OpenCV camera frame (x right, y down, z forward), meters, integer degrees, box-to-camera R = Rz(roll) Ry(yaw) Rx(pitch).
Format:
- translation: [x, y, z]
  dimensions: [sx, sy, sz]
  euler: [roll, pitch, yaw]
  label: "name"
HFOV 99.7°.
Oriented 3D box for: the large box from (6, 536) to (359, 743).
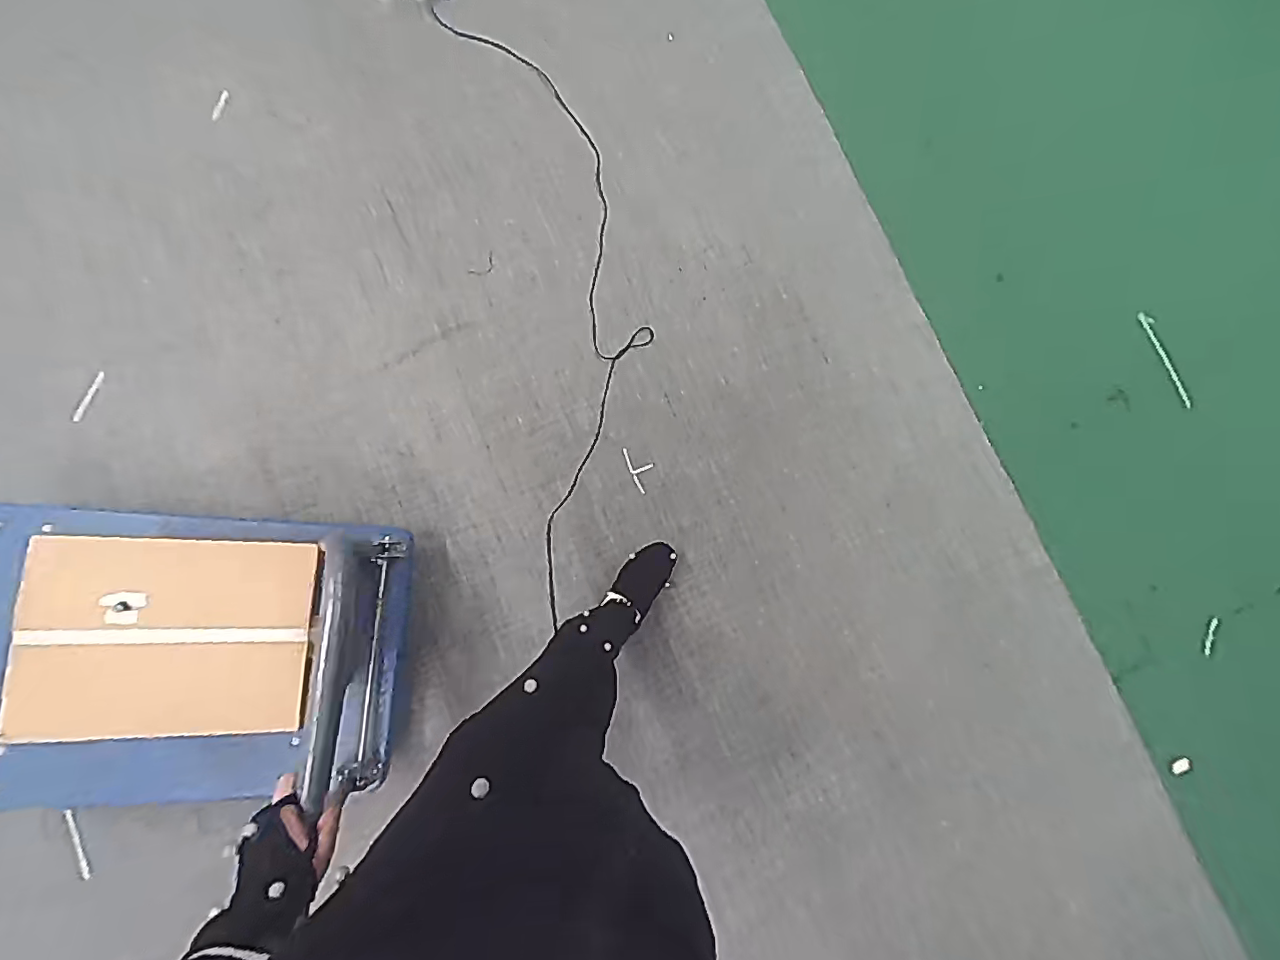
- translation: [-0.788, 0.266, 1.014]
  dimensions: [0.408, 0.320, 0.320]
  euler: [3, 81, -14]
  label: "large box"
